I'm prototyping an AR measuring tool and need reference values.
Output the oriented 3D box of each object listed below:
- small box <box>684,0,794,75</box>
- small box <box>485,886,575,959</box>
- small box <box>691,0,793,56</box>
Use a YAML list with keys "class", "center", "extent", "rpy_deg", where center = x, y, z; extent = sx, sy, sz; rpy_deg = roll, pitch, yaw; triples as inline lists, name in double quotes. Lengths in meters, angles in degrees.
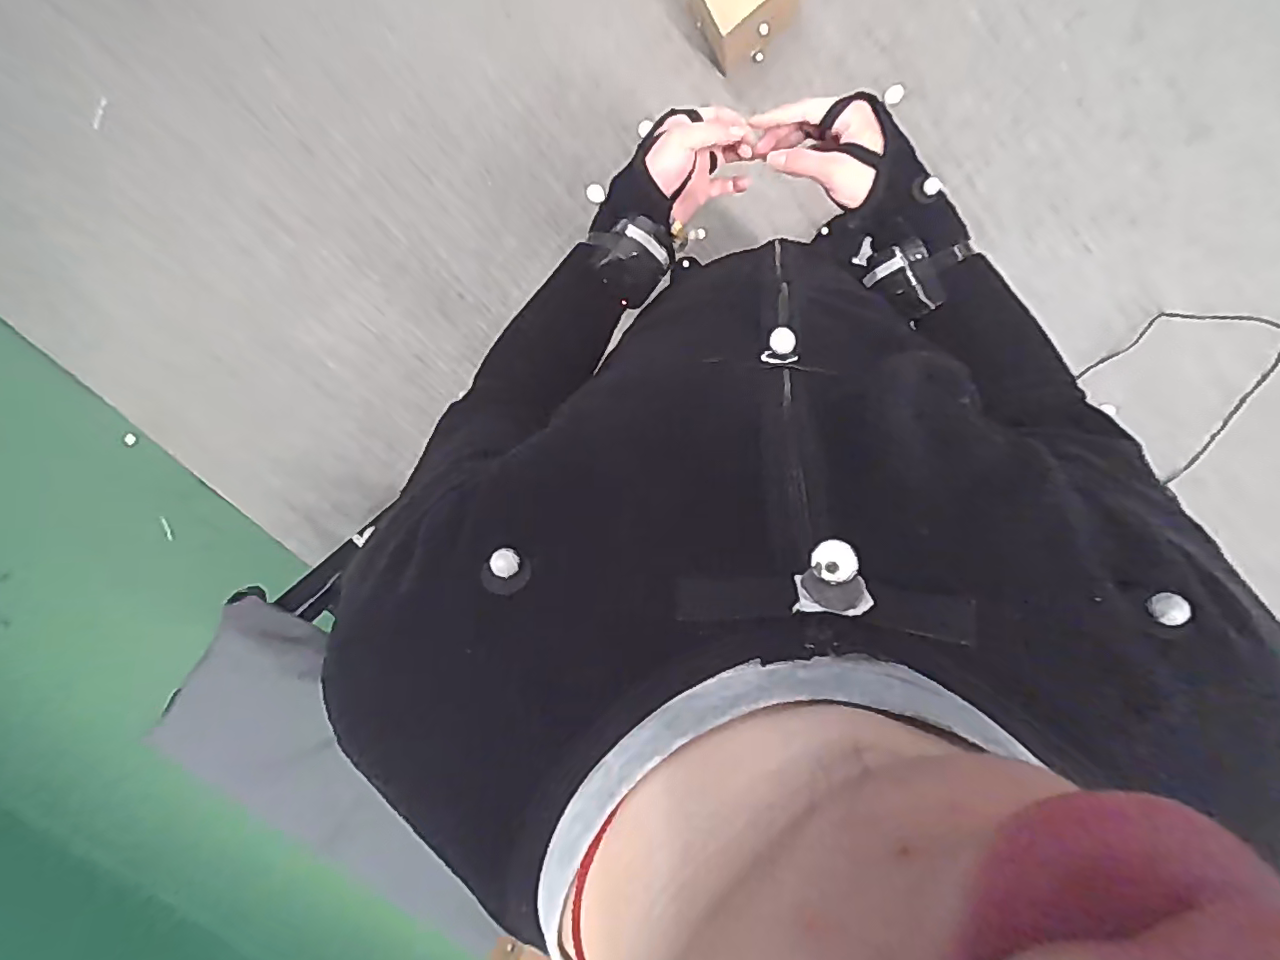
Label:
- class: "small box"
  center: [0.195, -0.979, 1.106]
  extent: [0.168, 0.176, 0.179]
  rpy_deg: [-28, 109, 22]
- class: "small box"
  center: [-0.293, 1.237, 1.450]
  extent: [0.168, 0.176, 0.179]
  rpy_deg: [41, 115, -10]
- class: "small box"
  center: [0.170, -0.908, 0.960]
  extent: [0.168, 0.176, 0.179]
  rpy_deg: [-27, 109, 22]
